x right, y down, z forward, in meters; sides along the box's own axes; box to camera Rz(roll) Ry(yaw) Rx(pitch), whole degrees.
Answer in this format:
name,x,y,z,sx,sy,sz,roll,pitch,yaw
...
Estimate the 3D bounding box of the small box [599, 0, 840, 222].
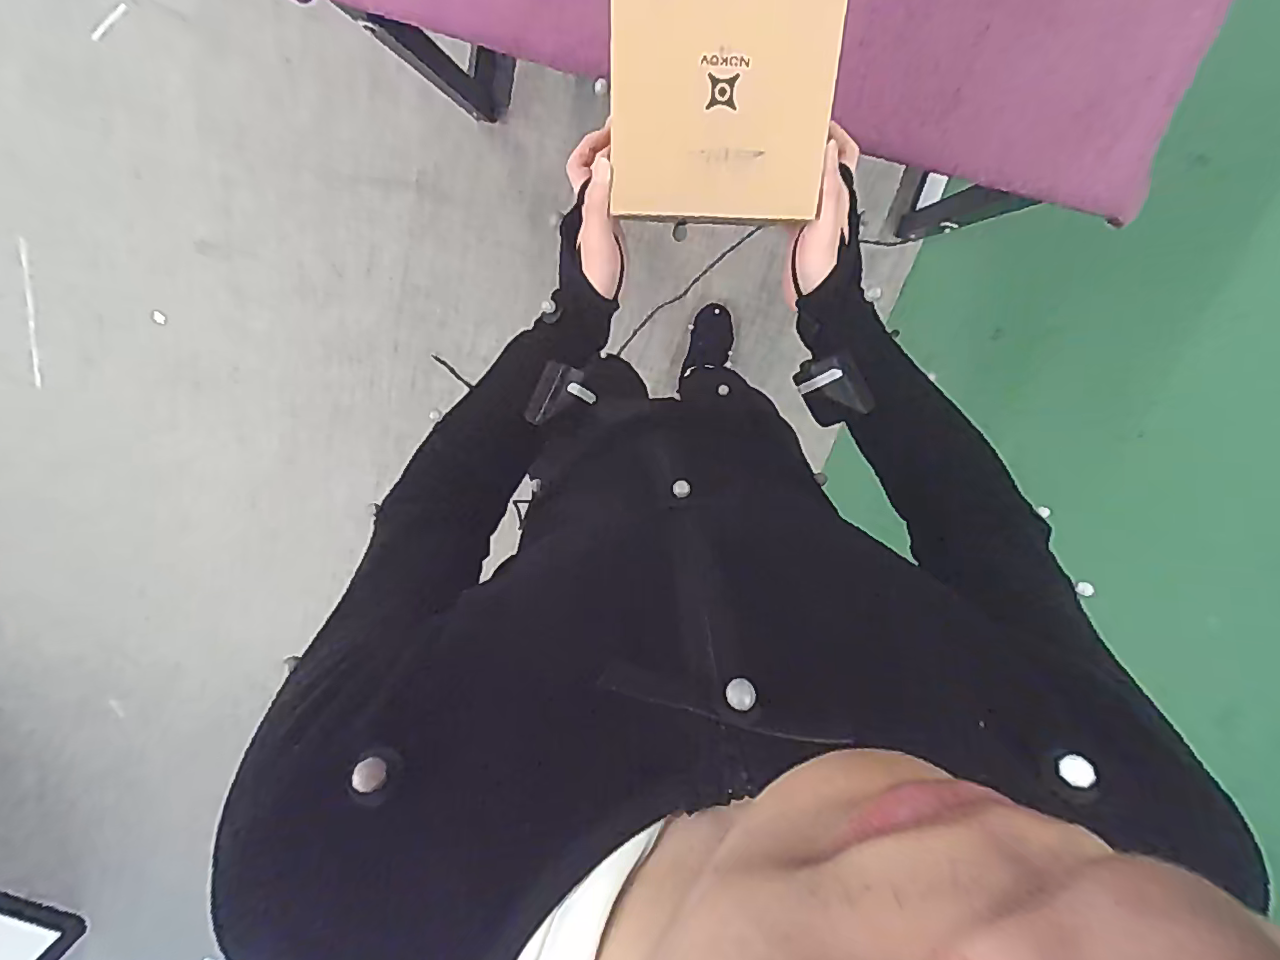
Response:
name,x,y,z,sx,sy,sz,roll,pitch,yaw
small box,0.053,-0.322,0.456,0.168,0.176,0.179,2,114,0
